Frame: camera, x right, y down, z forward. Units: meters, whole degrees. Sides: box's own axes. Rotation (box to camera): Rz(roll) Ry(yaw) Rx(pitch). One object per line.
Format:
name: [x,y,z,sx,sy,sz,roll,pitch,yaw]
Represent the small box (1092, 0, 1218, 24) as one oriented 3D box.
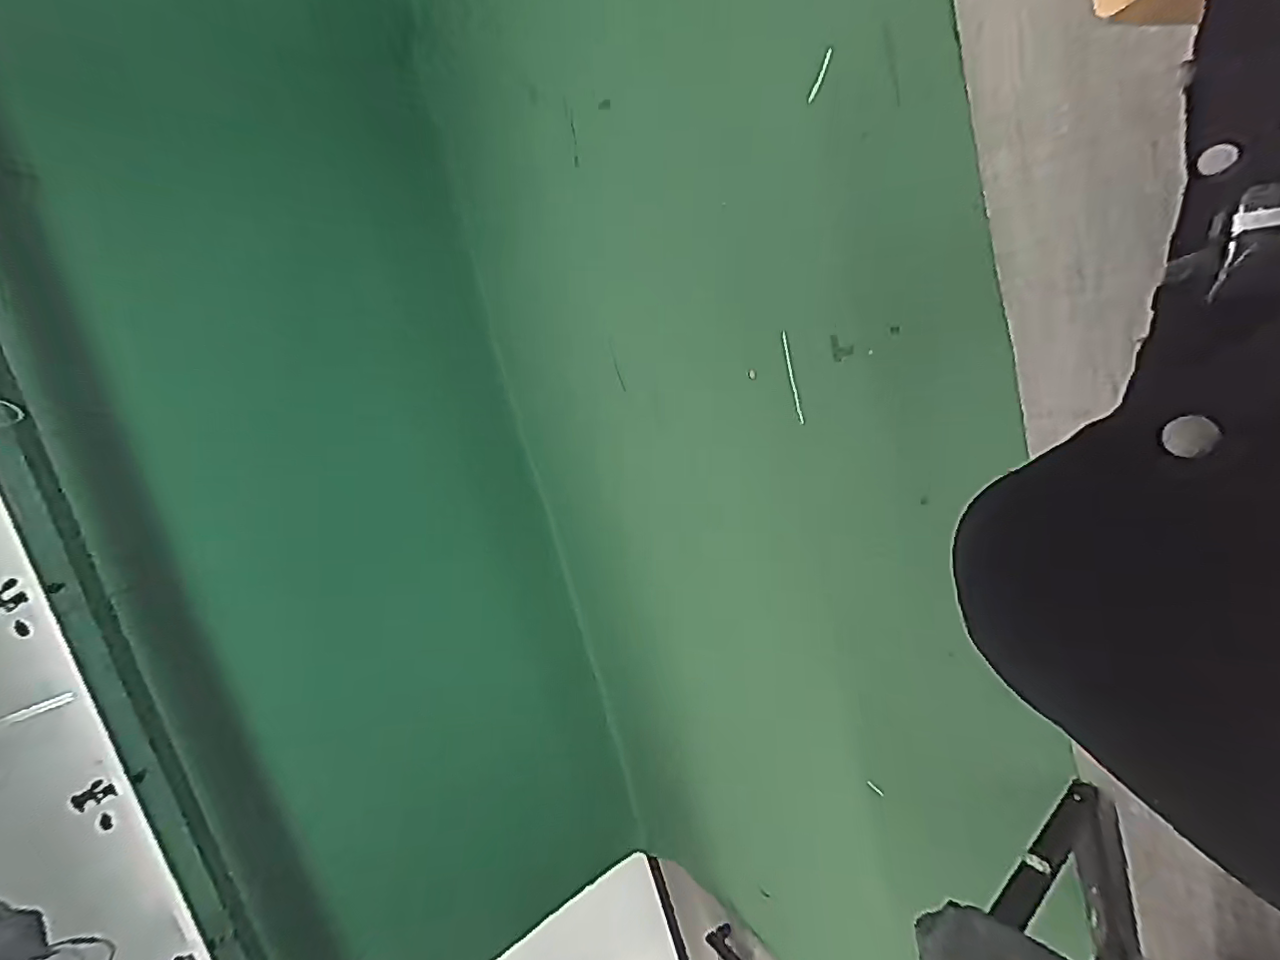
small box: [0.387,-0.428,0.326,0.168,0.176,0.179,-12,99,64]
